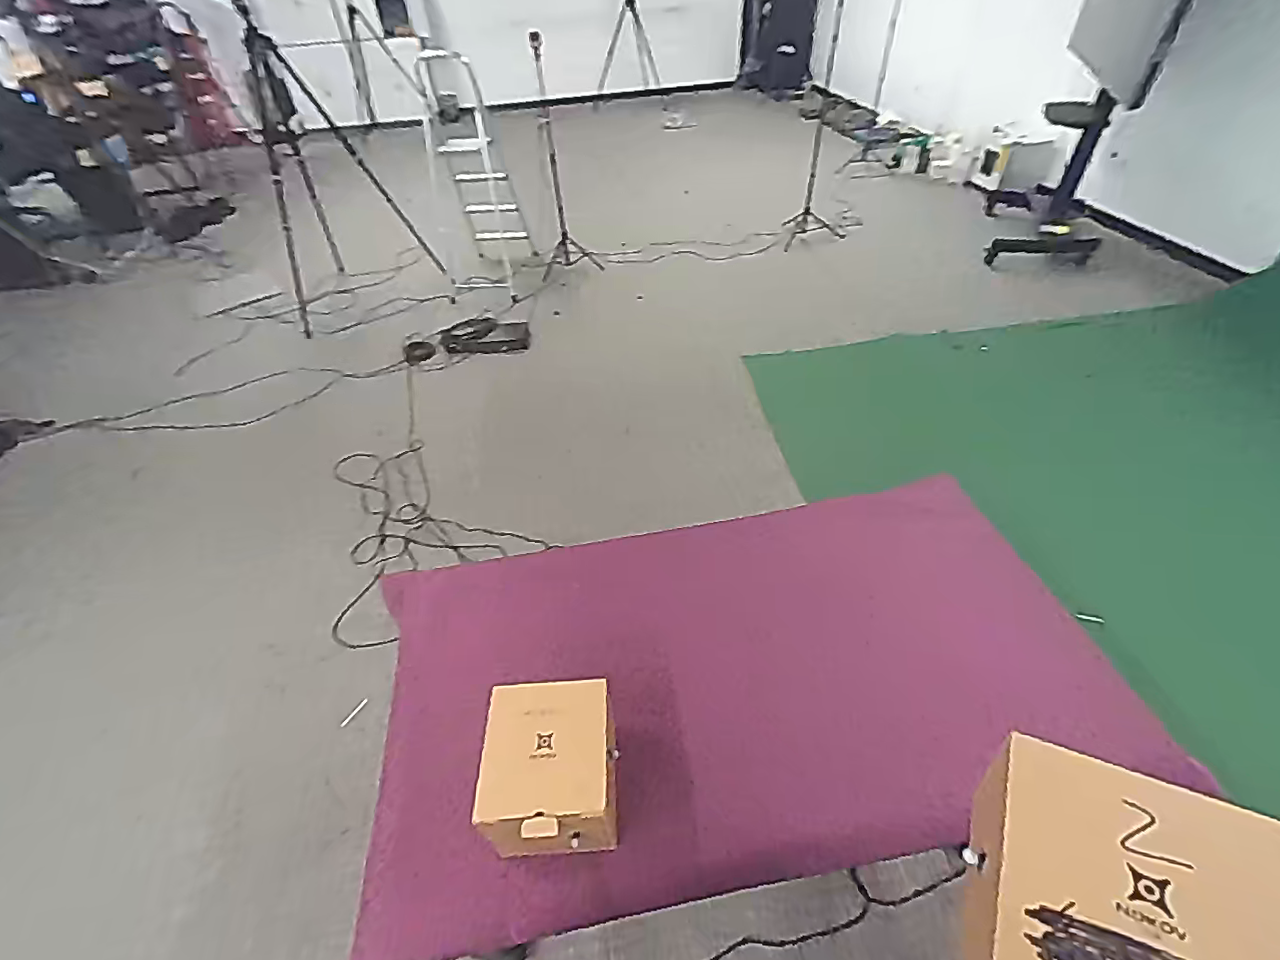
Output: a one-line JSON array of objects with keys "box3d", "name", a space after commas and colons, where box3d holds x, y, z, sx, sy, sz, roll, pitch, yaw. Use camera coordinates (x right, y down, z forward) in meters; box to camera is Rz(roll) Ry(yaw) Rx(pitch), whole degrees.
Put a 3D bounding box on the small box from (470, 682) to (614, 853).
[{"box3d": [-0.125, 0.412, 0.770, 0.168, 0.176, 0.179, -3, 42, 0], "name": "small box"}]
